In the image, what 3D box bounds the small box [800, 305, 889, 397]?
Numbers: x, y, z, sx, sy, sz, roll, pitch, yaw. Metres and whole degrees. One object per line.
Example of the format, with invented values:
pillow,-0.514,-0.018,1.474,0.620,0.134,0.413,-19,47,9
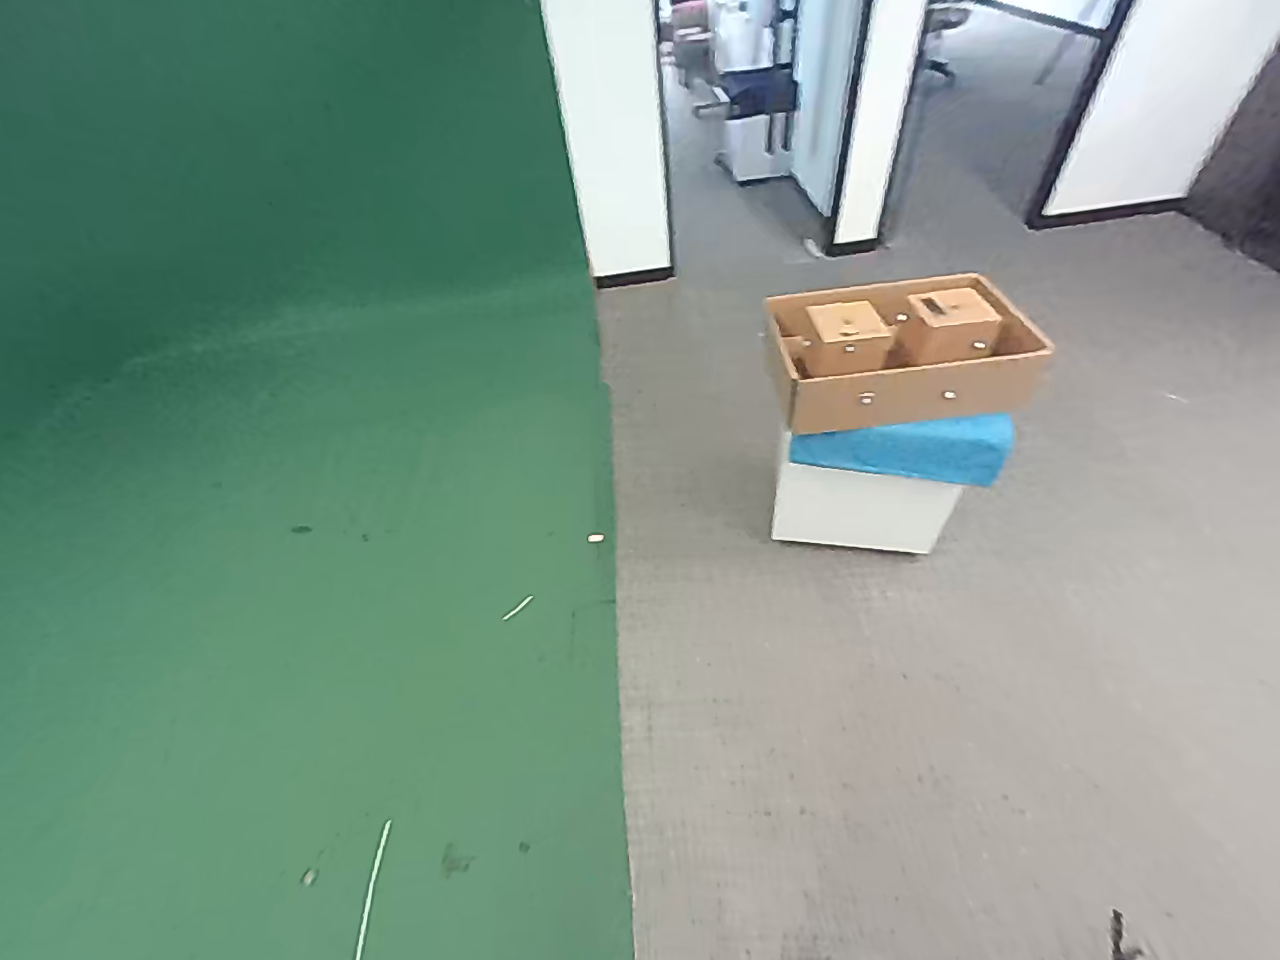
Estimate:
small box,0.535,-0.343,1.446,0.168,0.176,0.179,-6,45,2
